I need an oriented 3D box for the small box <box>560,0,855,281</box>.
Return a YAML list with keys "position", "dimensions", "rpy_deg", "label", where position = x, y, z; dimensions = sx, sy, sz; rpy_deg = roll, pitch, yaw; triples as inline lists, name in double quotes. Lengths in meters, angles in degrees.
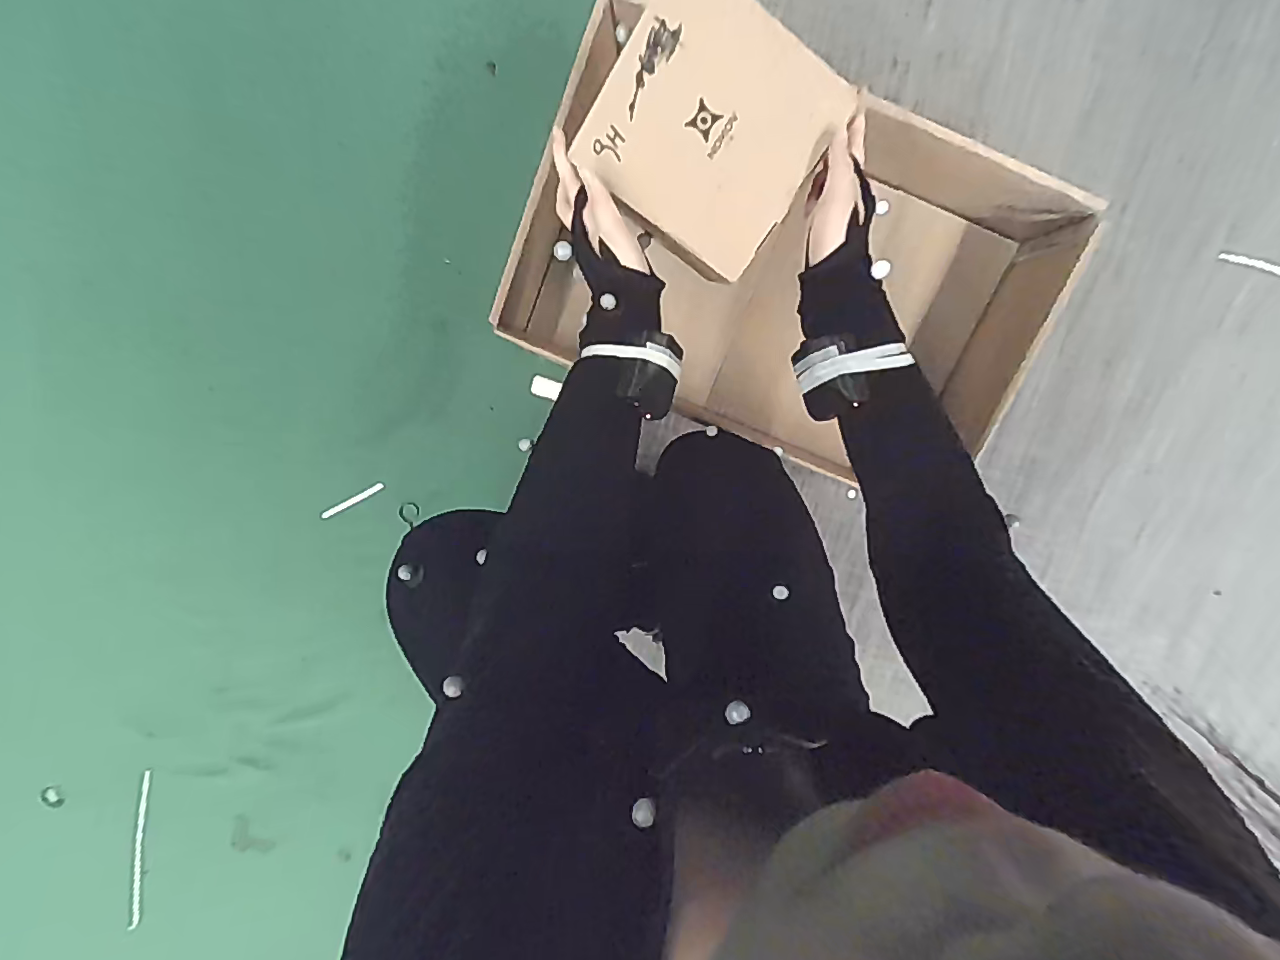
- position: [0.051, -0.308, 0.494]
  dimensions: [0.179, 0.176, 0.168]
  rpy_deg: [32, 108, -13]
  label: "small box"
